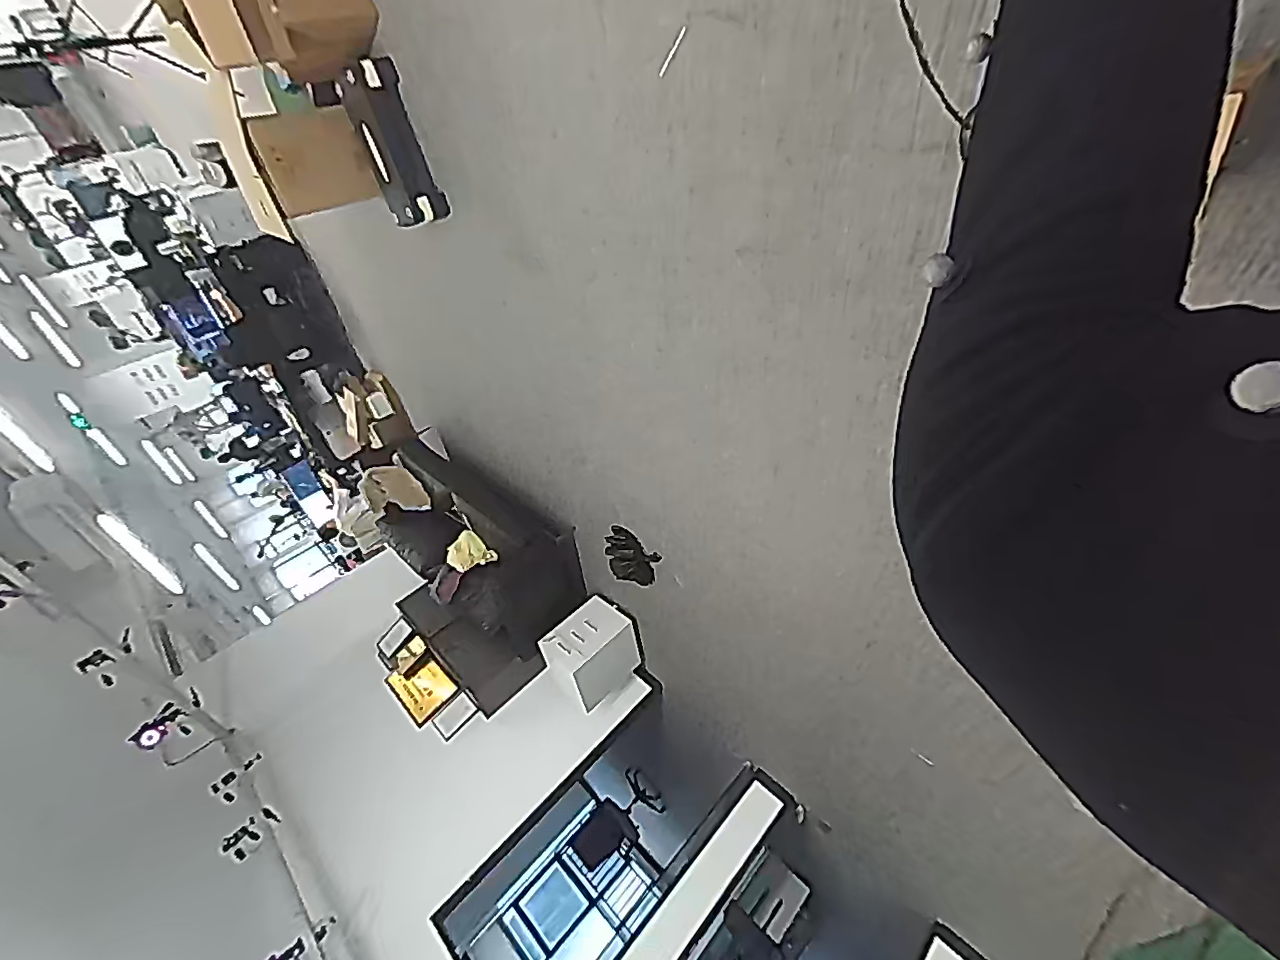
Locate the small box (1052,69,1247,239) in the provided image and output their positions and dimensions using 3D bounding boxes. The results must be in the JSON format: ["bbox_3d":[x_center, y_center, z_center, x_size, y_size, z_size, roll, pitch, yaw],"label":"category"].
[{"bbox_3d":[0.754,-0.479,0.807,0.168,0.176,0.179,21,138,44],"label":"small box"}]
